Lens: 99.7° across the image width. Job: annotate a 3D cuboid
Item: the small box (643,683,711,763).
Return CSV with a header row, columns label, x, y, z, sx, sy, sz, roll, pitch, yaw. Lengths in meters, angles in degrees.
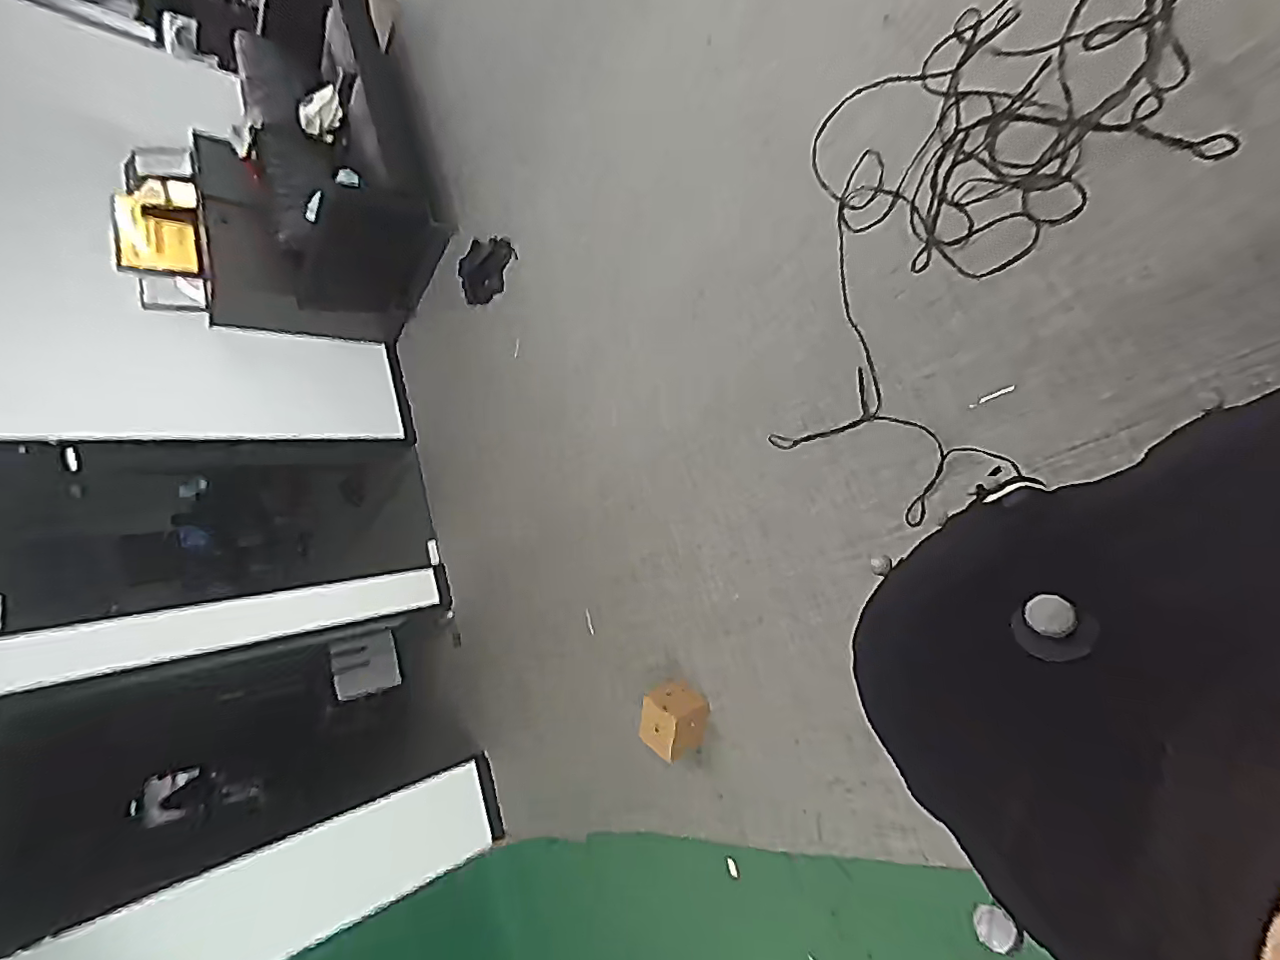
label,x,y,z,sx,sy,sz,roll,pitch,yaw
small box,0.133,0.850,1.912,0.168,0.176,0.179,18,107,47
